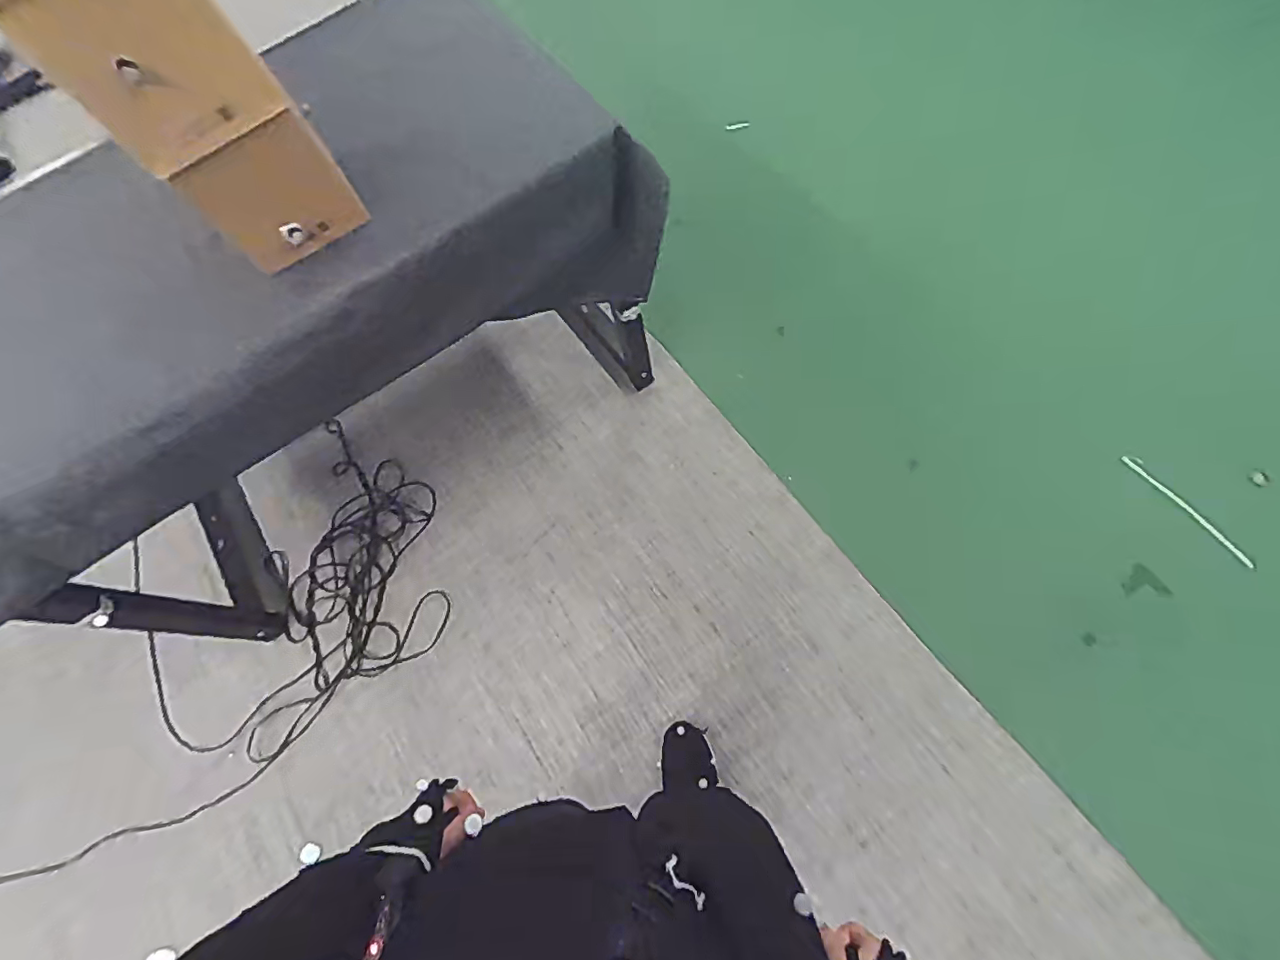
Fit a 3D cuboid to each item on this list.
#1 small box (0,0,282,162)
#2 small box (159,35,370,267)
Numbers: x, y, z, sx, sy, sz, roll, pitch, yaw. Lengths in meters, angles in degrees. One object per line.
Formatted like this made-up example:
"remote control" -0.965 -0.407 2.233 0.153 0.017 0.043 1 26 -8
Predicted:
"small box" -0.523 -0.474 0.564 0.168 0.176 0.179 -36 68 -5
"small box" -0.504 -0.426 0.719 0.168 0.176 0.179 -35 70 -5
